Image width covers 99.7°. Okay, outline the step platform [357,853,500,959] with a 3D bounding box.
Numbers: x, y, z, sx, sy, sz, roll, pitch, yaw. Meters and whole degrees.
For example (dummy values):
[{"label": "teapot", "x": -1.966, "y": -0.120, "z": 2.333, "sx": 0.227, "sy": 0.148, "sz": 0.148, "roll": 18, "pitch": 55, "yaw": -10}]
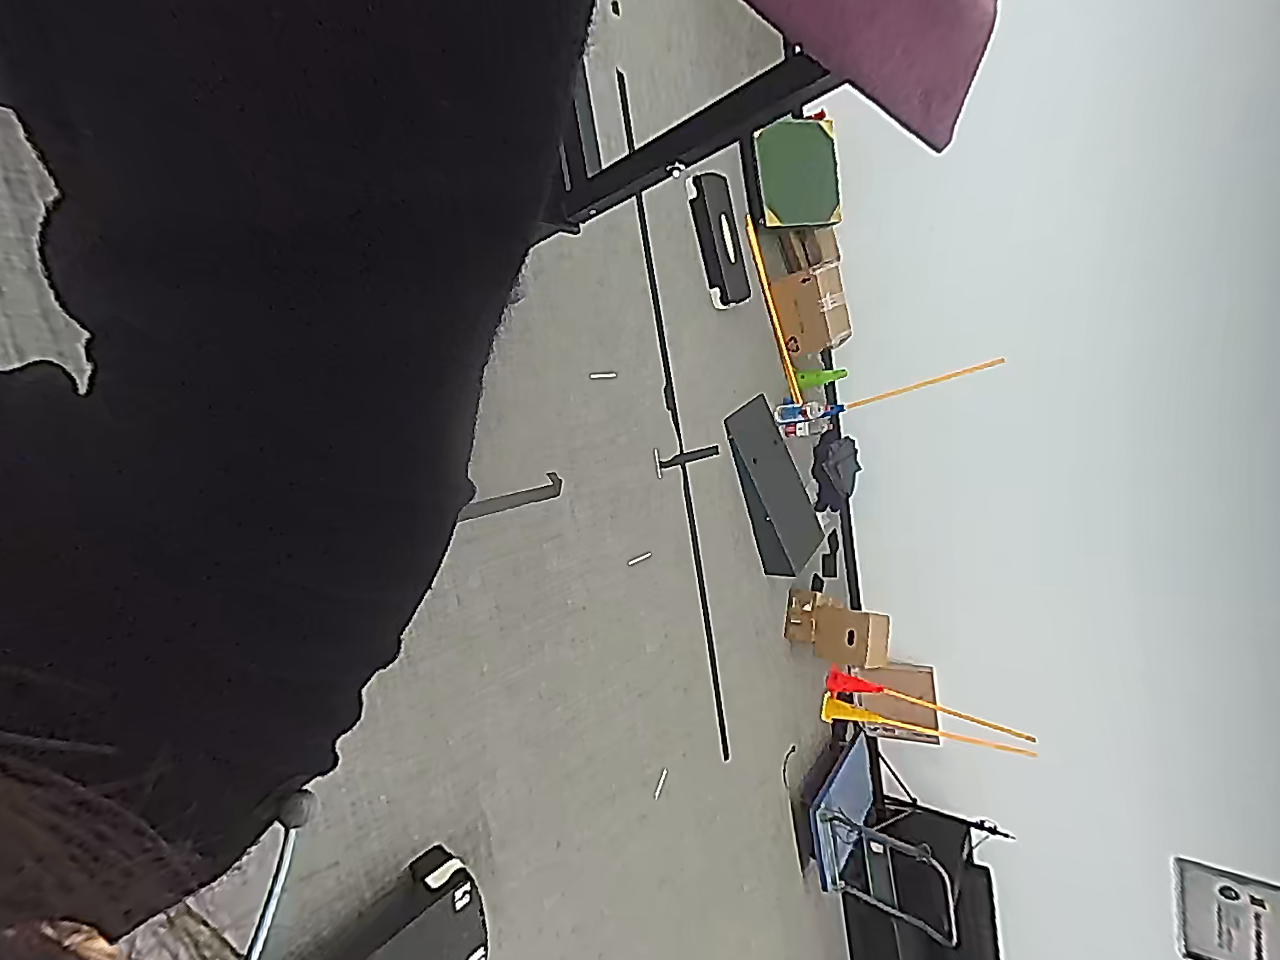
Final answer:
[{"label": "step platform", "x": -0.675, "y": 1.266, "z": 1.330, "sx": 0.684, "sy": 0.204, "sz": 0.286, "roll": -7, "pitch": 92, "yaw": -50}]
